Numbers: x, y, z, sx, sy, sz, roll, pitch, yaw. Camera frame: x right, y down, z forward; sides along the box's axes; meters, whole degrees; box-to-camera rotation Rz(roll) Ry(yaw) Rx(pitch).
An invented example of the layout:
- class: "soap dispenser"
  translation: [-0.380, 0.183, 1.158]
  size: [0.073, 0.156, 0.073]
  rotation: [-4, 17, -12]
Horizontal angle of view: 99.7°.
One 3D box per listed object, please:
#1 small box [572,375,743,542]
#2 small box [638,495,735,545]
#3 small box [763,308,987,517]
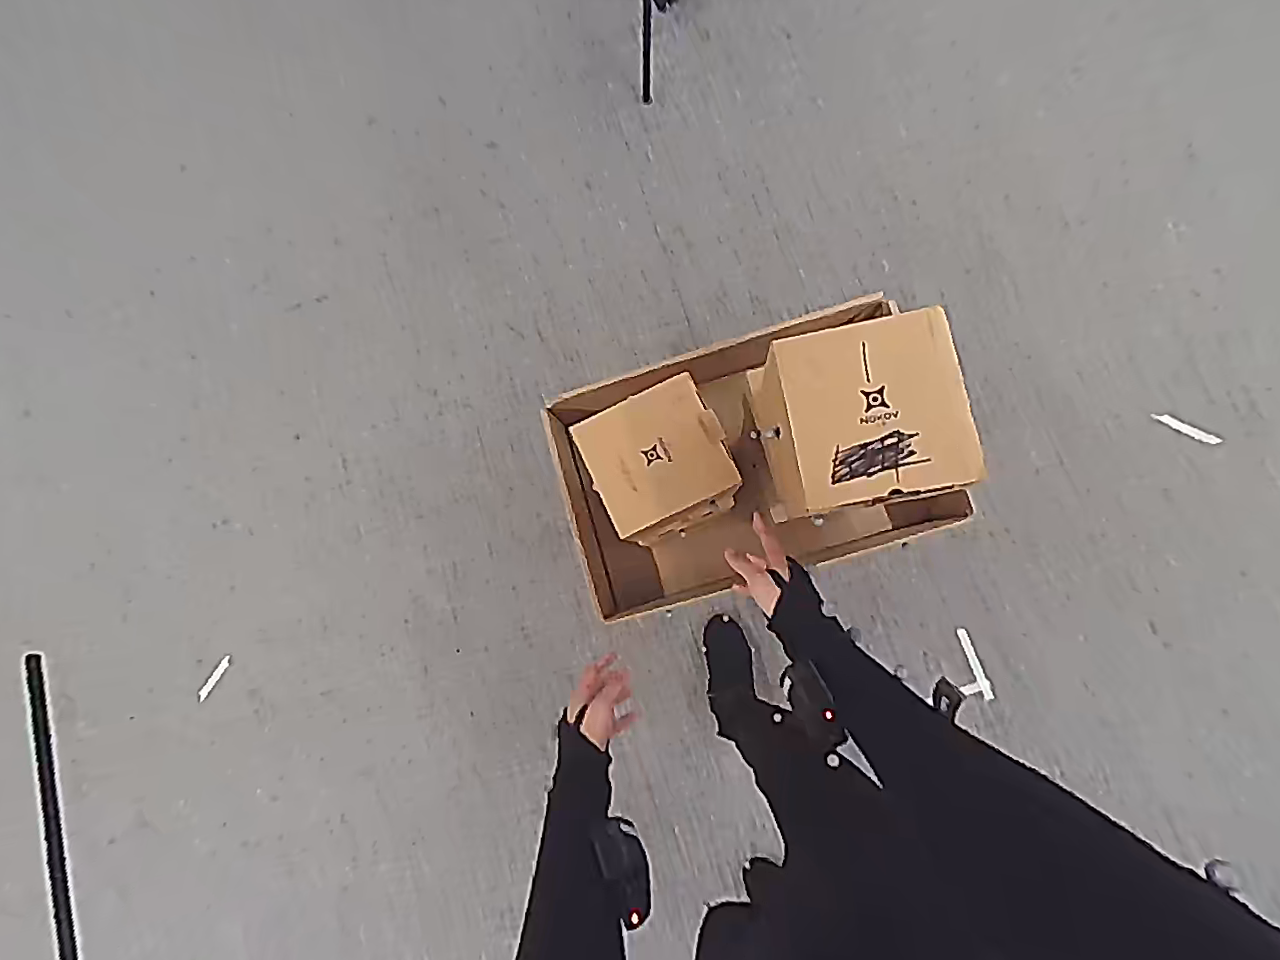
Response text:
- class: "small box"
  translation: [0.026, -0.021, 0.771]
  size: [0.179, 0.176, 0.168]
  rotation: [-26, 81, 1]
- class: "small box"
  translation: [0.046, 0.004, 0.932]
  size: [0.168, 0.176, 0.179]
  rotation: [-25, 82, 1]
- class: "small box"
  translation: [0.235, -0.056, 0.588]
  size: [0.168, 0.176, 0.179]
  rotation: [-11, 82, 7]
